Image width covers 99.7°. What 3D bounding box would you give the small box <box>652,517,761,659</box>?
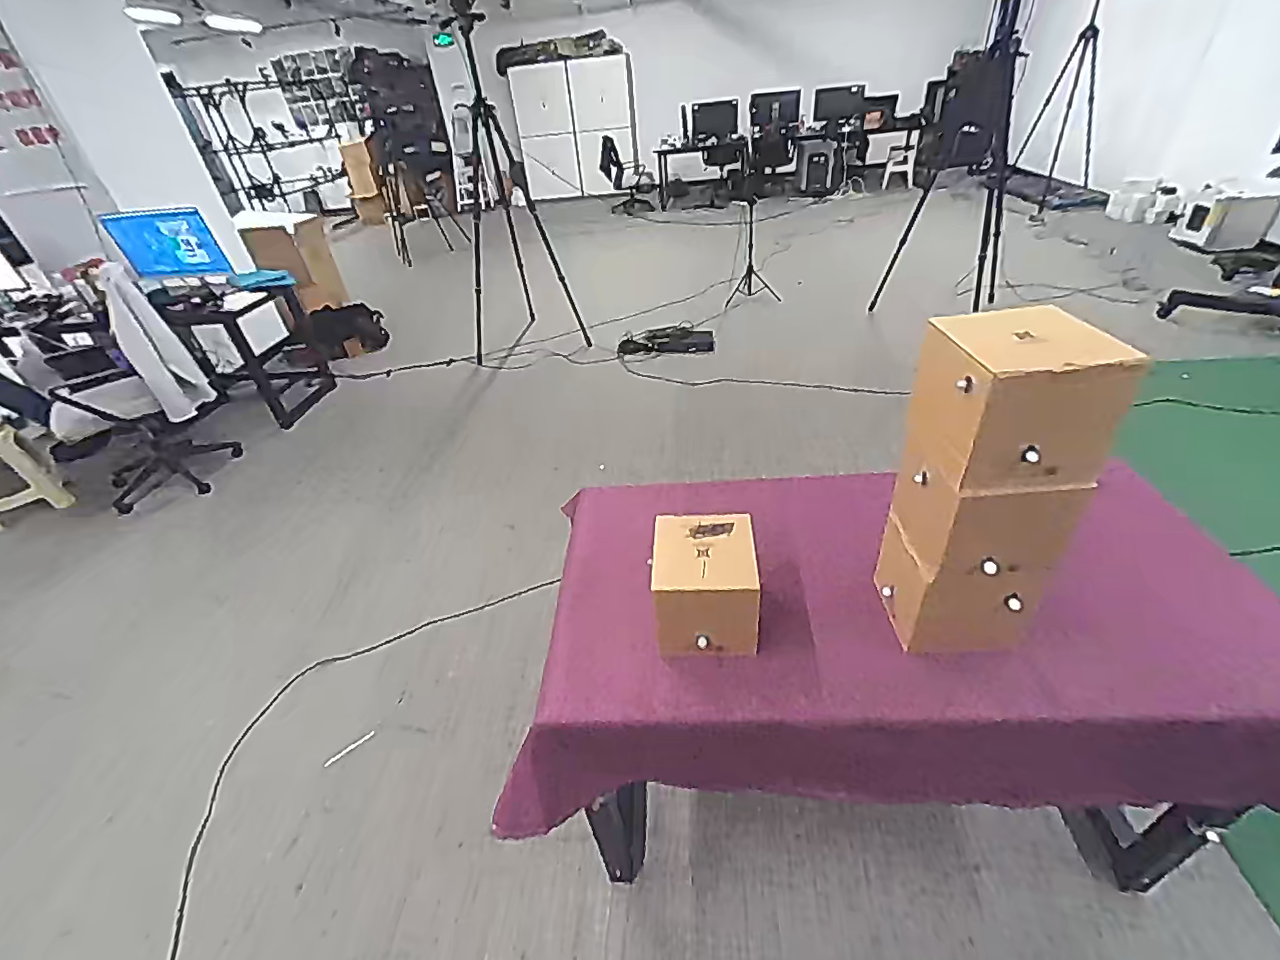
[{"bbox_3d":[0.113,0.182,0.926,0.168,0.176,0.179,-2,37,7],"label":"small box"}]

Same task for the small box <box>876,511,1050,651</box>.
[{"bbox_3d":[0.509,0.162,0.883,0.179,0.176,0.168,-4,36,5],"label":"small box"}]

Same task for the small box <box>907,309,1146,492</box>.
[{"bbox_3d":[0.471,-0.104,0.699,0.168,0.176,0.179,-6,37,3],"label":"small box"}]

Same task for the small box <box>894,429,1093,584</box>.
[{"bbox_3d":[0.491,0.030,0.789,0.168,0.176,0.179,-5,37,5],"label":"small box"}]
